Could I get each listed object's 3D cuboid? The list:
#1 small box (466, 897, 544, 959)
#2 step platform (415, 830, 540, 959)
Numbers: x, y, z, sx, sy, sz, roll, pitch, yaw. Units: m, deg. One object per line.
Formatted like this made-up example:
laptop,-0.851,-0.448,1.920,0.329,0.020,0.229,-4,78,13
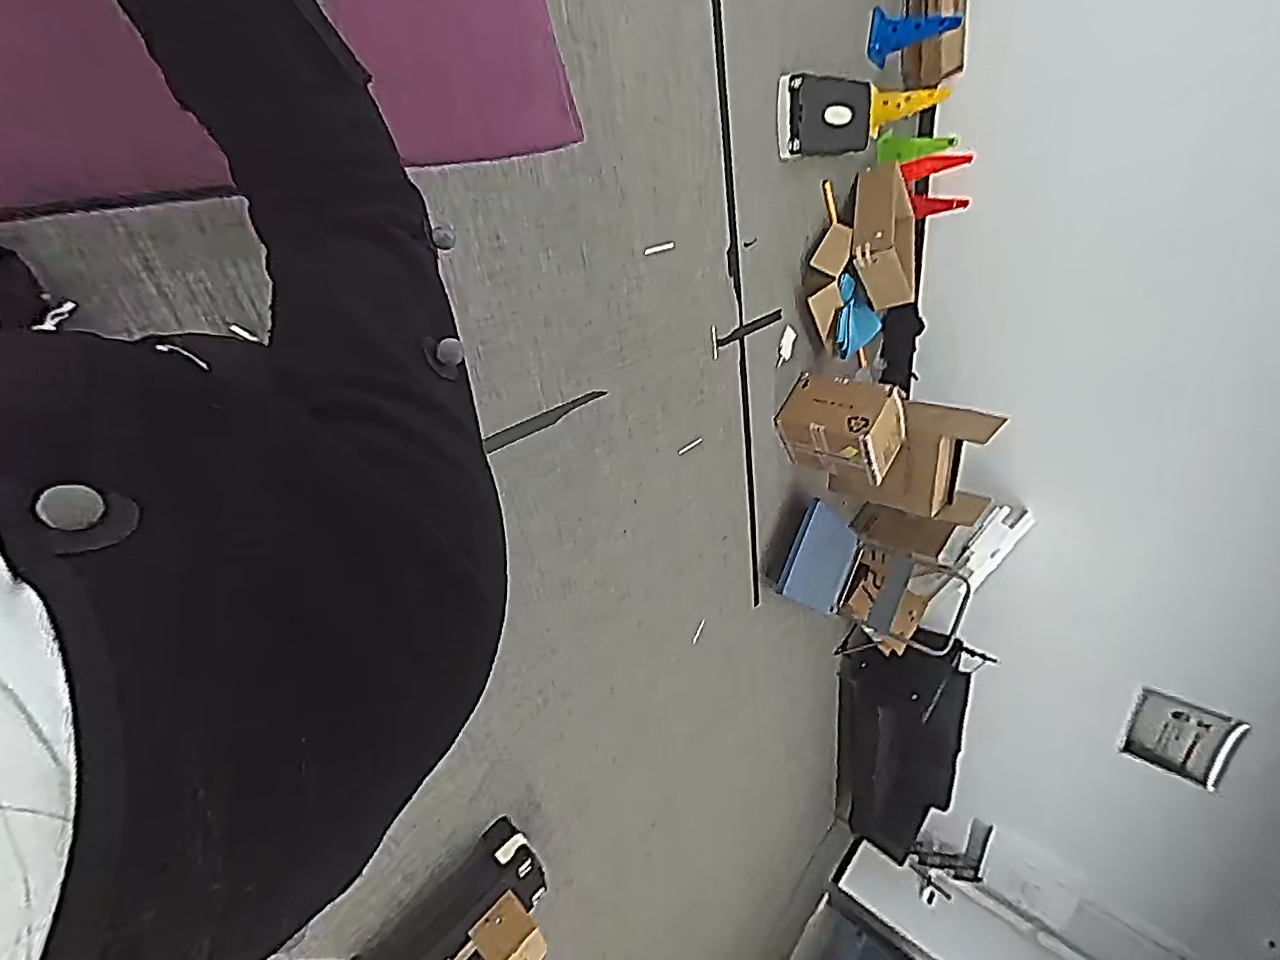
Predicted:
small box,-0.448,1.540,1.788,0.168,0.176,0.179,-32,126,-38
step platform,-0.662,1.575,1.829,0.684,0.204,0.286,-33,127,-37
